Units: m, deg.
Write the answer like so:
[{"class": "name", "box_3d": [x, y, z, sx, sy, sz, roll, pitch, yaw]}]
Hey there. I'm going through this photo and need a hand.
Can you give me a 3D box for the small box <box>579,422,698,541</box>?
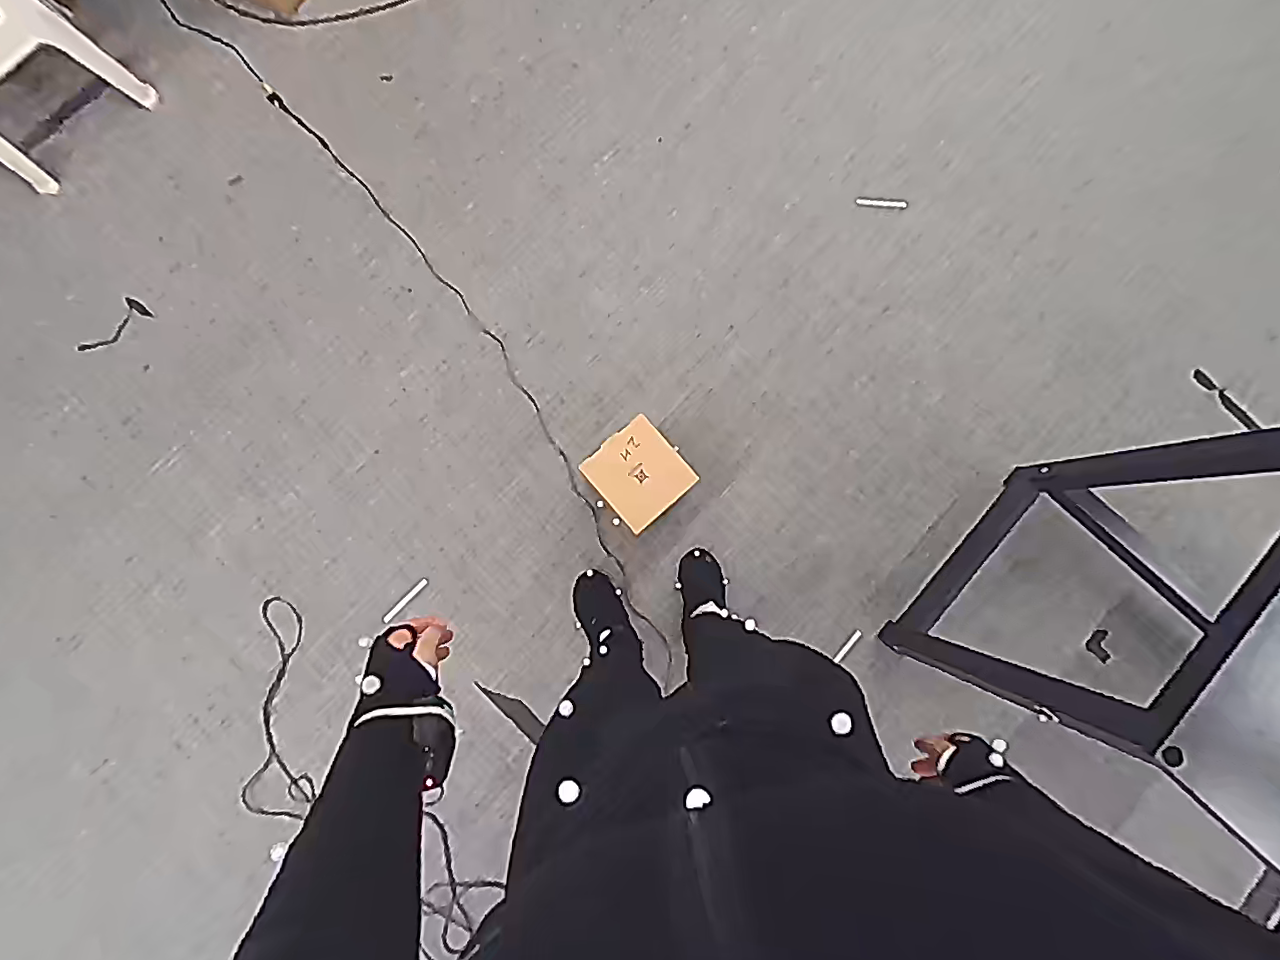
[{"class": "small box", "box_3d": [-0.004, 0.008, 1.120, 0.168, 0.176, 0.179, -41, 86, -7]}]
